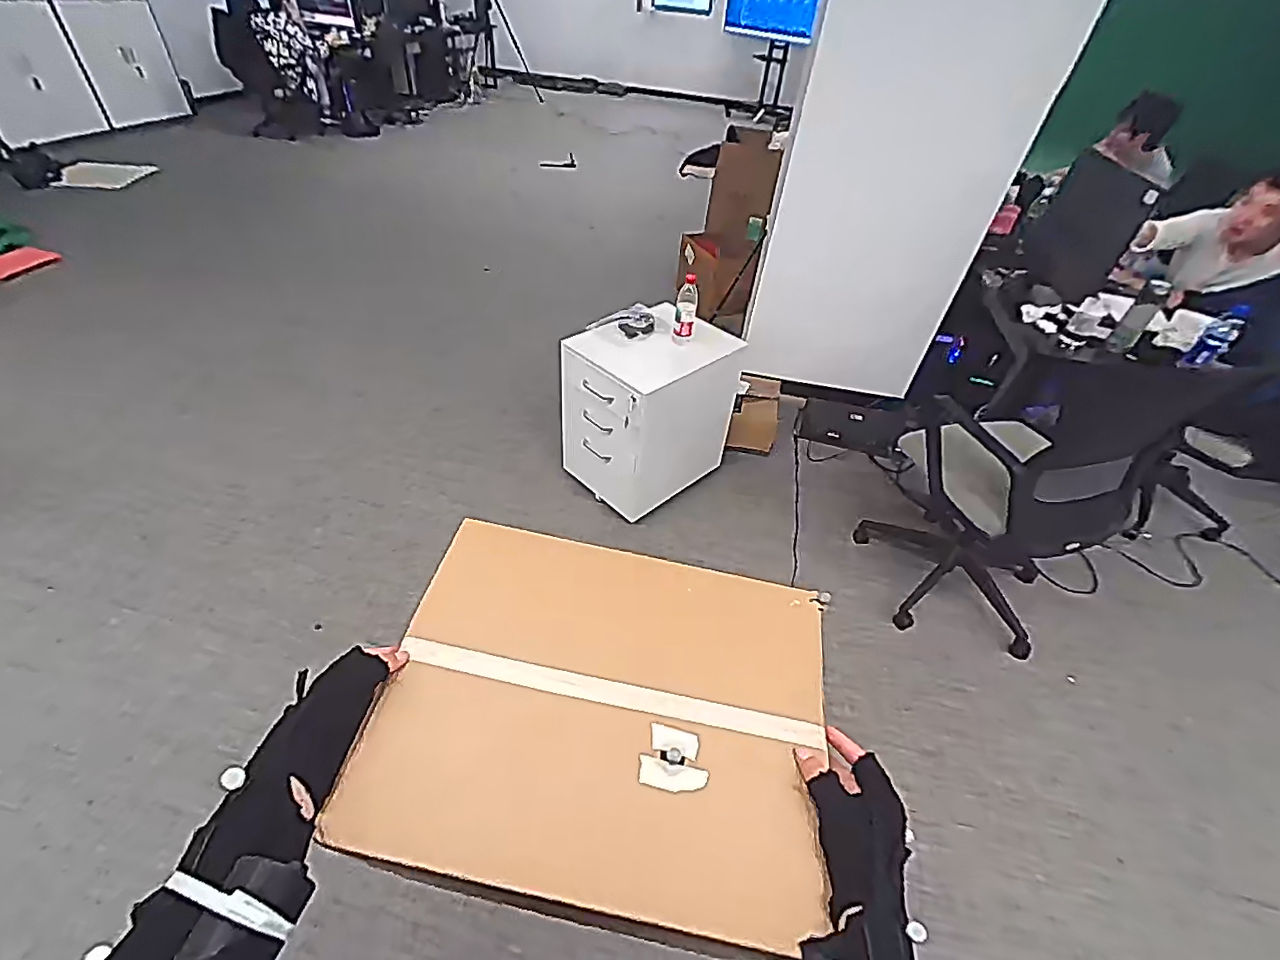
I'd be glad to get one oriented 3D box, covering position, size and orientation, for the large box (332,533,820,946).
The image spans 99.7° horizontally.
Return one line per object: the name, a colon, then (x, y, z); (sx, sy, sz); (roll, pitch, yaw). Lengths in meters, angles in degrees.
large box: (-0.046, 0.305, 0.632); (0.408, 0.320, 0.320); (12, 50, 2)
